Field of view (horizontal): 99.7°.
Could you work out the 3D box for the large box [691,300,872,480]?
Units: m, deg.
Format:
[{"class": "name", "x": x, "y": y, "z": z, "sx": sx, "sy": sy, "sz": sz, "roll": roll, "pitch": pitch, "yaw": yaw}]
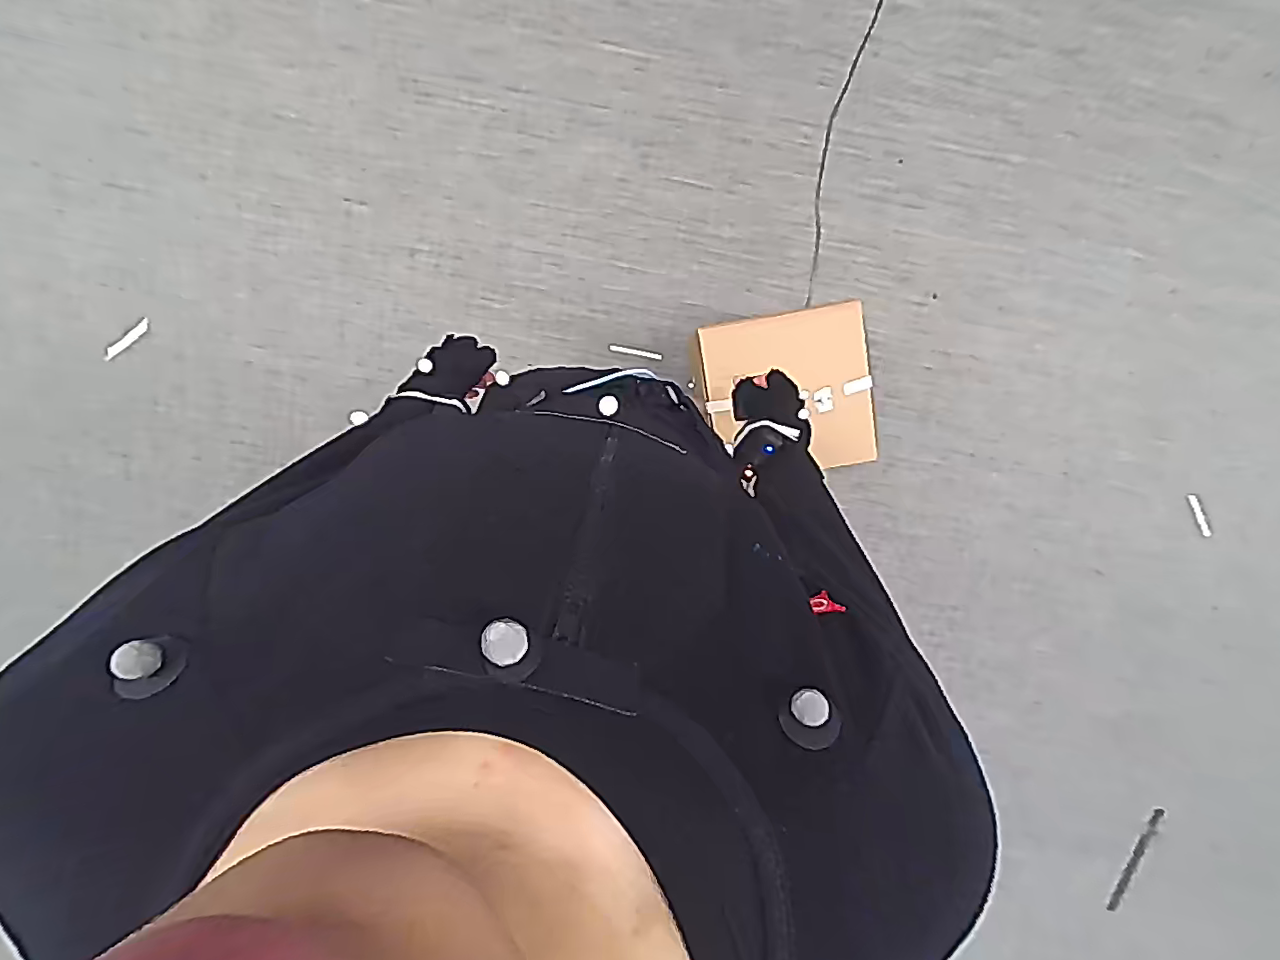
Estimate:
[{"class": "large box", "x": 0.299, "y": -0.203, "z": 1.246, "sx": 0.320, "sy": 0.408, "sz": 0.320, "roll": -9, "pitch": 100, "yaw": 5}]
